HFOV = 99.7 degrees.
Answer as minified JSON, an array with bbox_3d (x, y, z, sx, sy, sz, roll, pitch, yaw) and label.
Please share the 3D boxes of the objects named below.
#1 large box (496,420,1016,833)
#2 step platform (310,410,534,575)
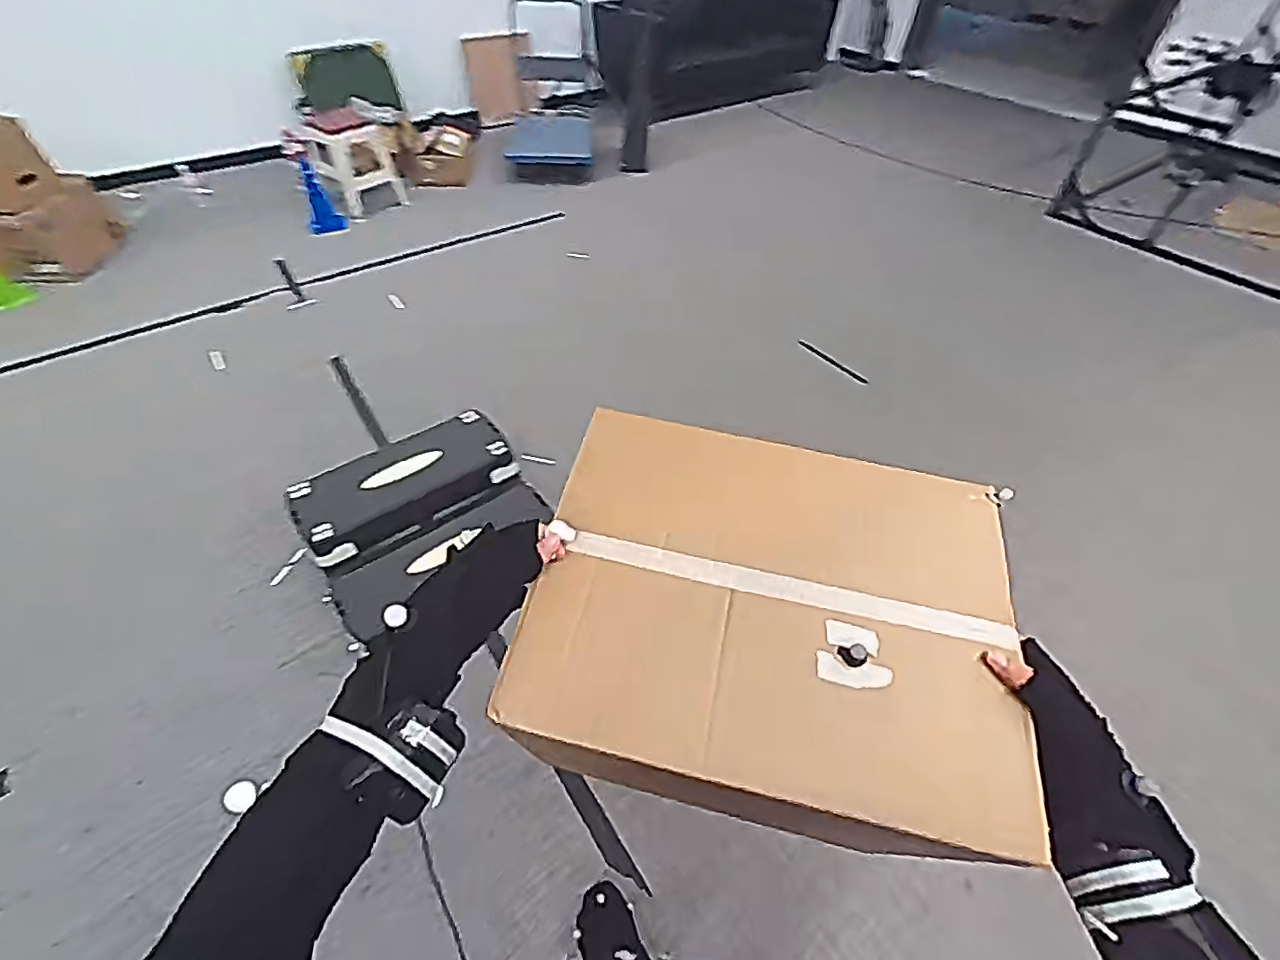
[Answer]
[{"bbox_3d":[0.101,0.175,0.609,0.408,0.320,0.320,12,58,5],"label":"large box"},{"bbox_3d":[-0.712,0.018,1.817,0.684,0.204,0.286,-30,55,-26],"label":"step platform"}]
